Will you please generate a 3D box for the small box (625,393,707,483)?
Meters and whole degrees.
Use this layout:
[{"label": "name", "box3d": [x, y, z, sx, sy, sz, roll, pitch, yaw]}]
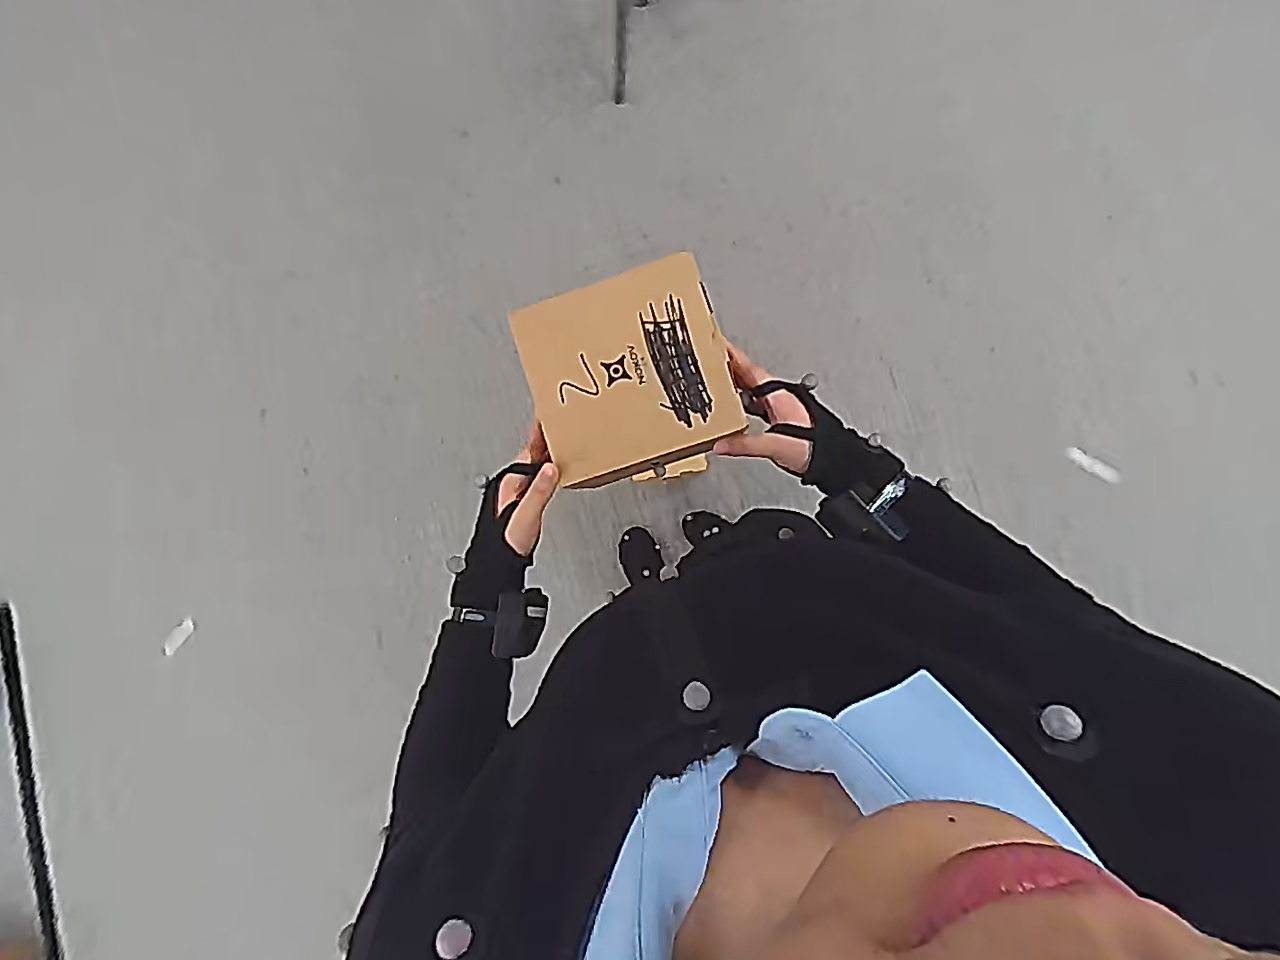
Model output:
[{"label": "small box", "box3d": [0.061, -0.092, 1.275, 0.168, 0.176, 0.179, -9, 87, 3]}]
